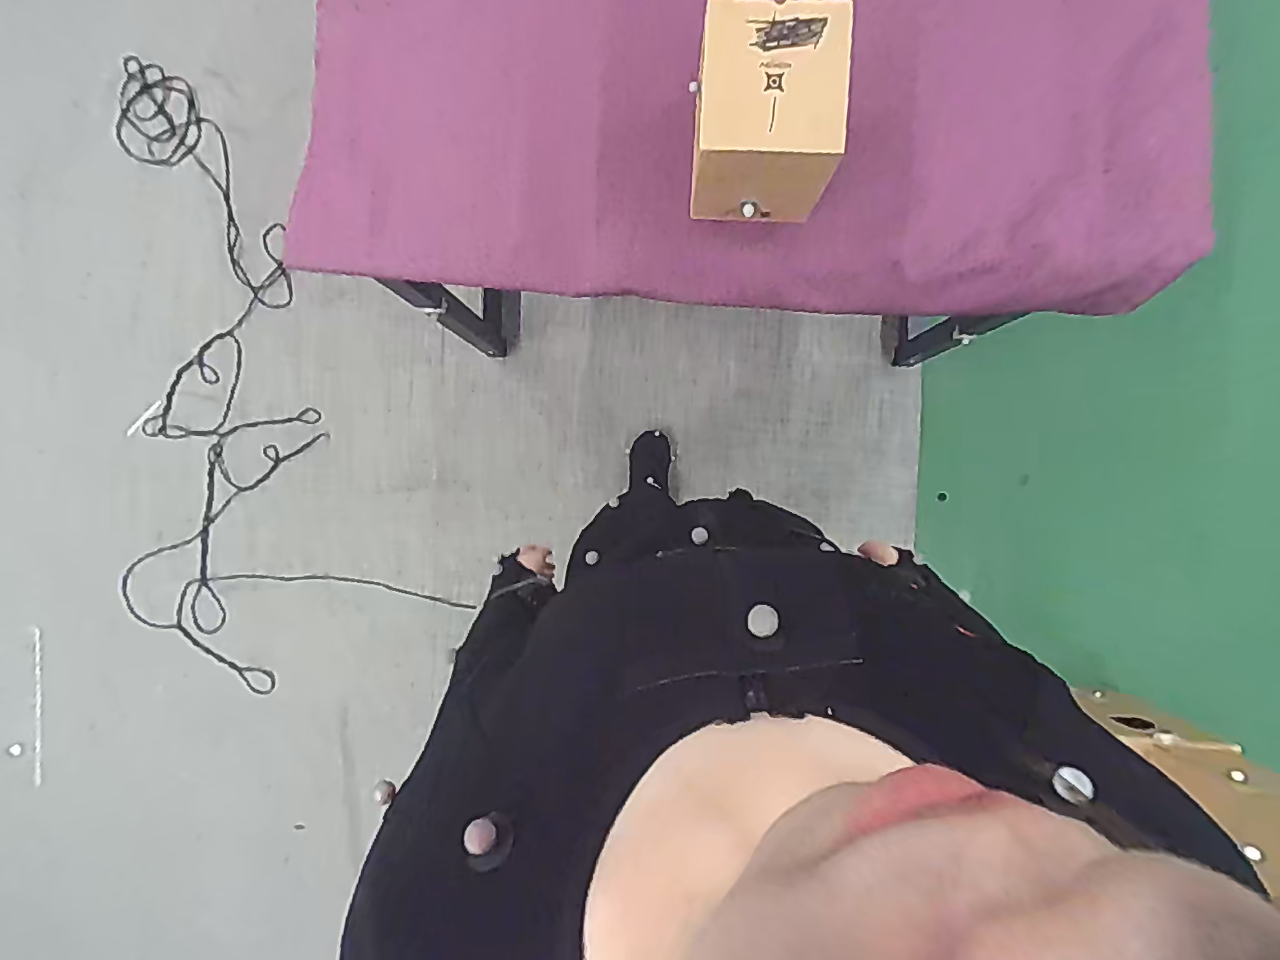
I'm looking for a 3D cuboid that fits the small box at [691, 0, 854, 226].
[{"bbox_3d":[0.153,-0.448,0.679,0.168,0.176,0.179,3,91,3],"label":"small box"}]

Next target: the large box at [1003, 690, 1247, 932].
[{"bbox_3d":[1.128,0.765,1.299,0.320,0.320,0.408,4,91,3],"label":"large box"}]

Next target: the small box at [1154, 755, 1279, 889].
[{"bbox_3d":[1.174,0.663,1.054,0.179,0.176,0.168,4,91,3],"label":"small box"}]
